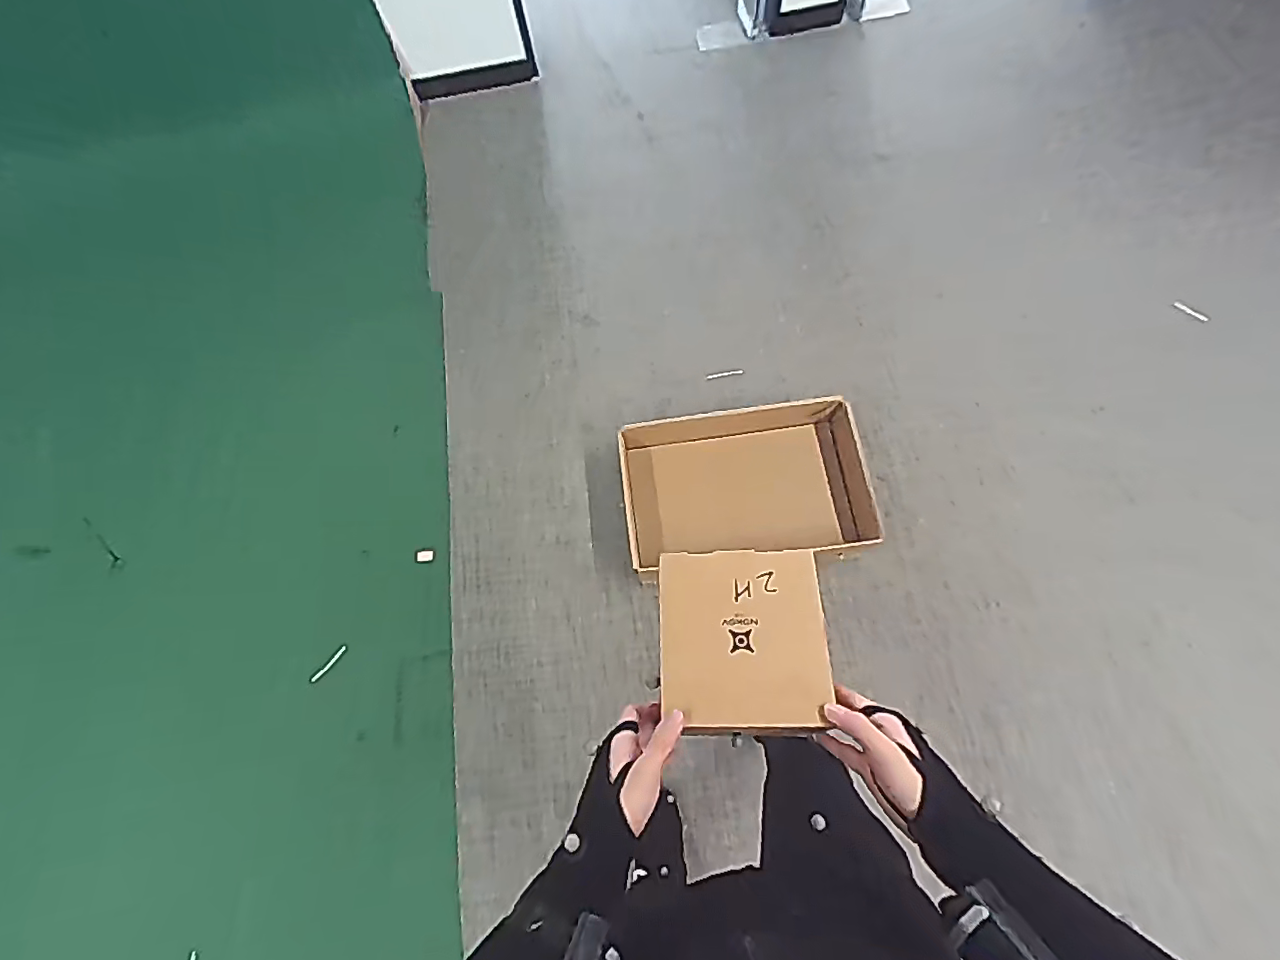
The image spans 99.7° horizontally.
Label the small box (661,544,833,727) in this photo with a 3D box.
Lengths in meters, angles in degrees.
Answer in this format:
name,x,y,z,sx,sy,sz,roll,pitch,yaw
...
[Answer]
name,x,y,z,sx,sy,sz,roll,pitch,yaw
small box,0.112,0.187,0.625,0.168,0.176,0.179,-3,61,5
